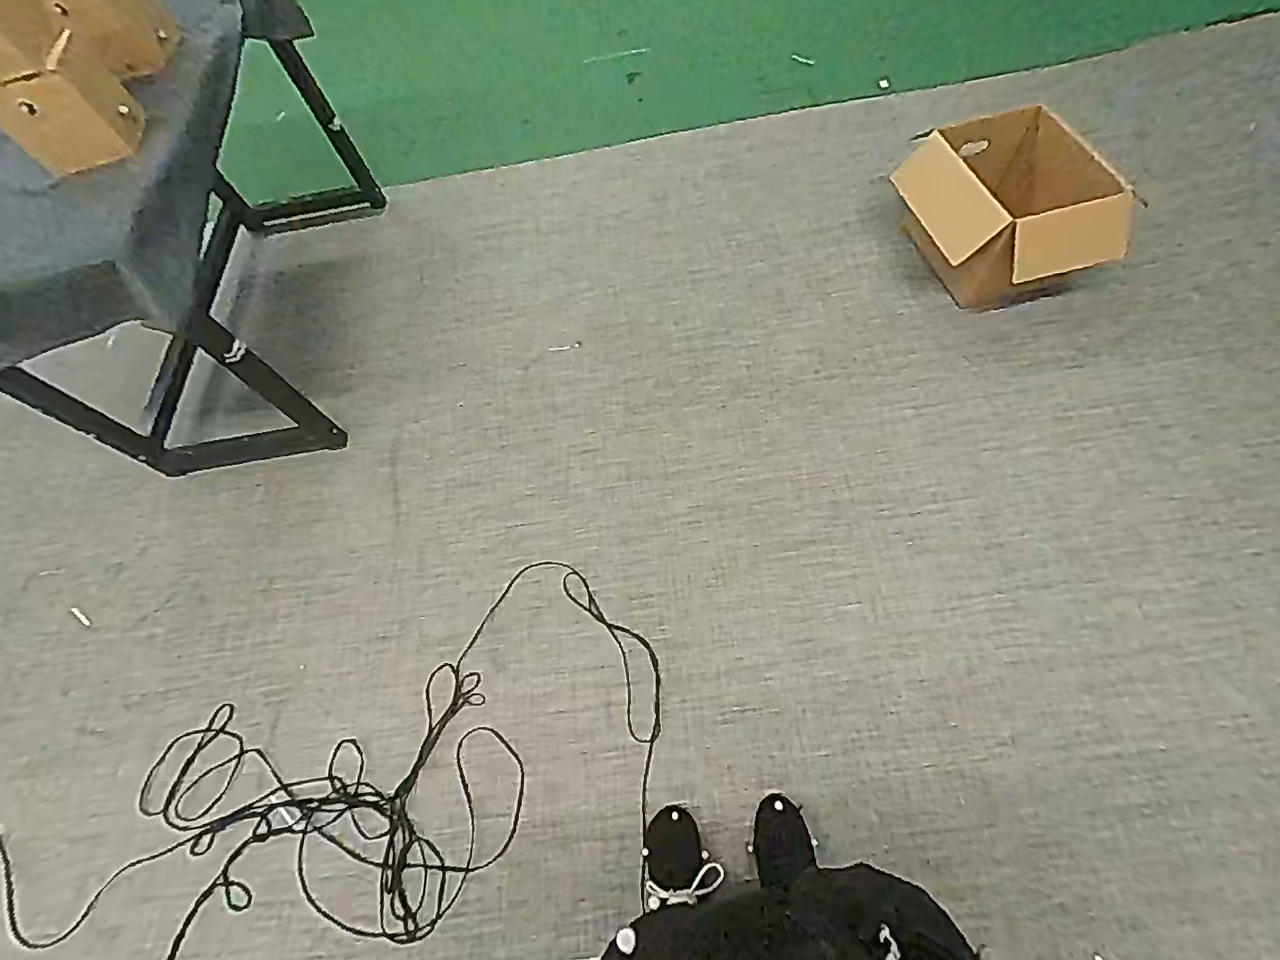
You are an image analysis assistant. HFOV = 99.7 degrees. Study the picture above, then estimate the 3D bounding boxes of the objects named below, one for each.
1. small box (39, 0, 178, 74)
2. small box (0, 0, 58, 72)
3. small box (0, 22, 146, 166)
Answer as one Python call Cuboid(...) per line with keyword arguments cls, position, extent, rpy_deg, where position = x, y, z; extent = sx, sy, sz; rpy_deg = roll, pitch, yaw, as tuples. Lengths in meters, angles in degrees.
Cuboid(cls="small box", position=(-1.248, -1.095, 1.270), extent=(0.168, 0.176, 0.179), rpy_deg=(-8, 63, 4))
Cuboid(cls="small box", position=(-1.213, -0.851, 0.962), extent=(0.168, 0.176, 0.179), rpy_deg=(-13, 62, -1))
Cuboid(cls="small box", position=(-1.178, -0.779, 1.104), extent=(0.179, 0.176, 0.168), rpy_deg=(-17, 63, -2))
